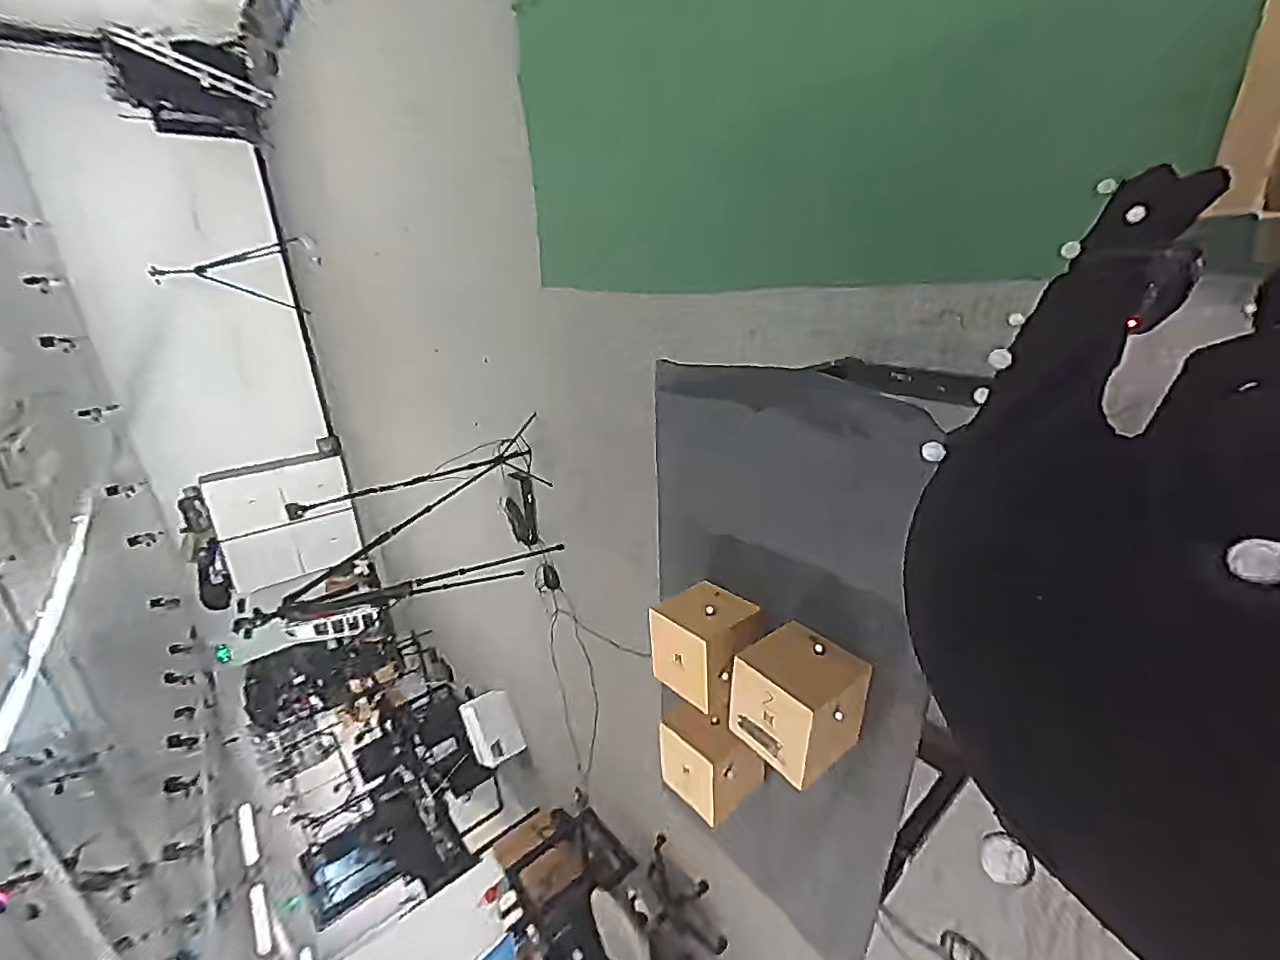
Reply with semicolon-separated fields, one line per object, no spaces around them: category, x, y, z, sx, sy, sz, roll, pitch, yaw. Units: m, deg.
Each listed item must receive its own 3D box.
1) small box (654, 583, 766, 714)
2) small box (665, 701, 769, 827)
small box;0.149;0.339;1.132;0.168;0.176;0.179;18;119;48
small box;0.174;0.612;1.213;0.168;0.176;0.179;19;120;49
